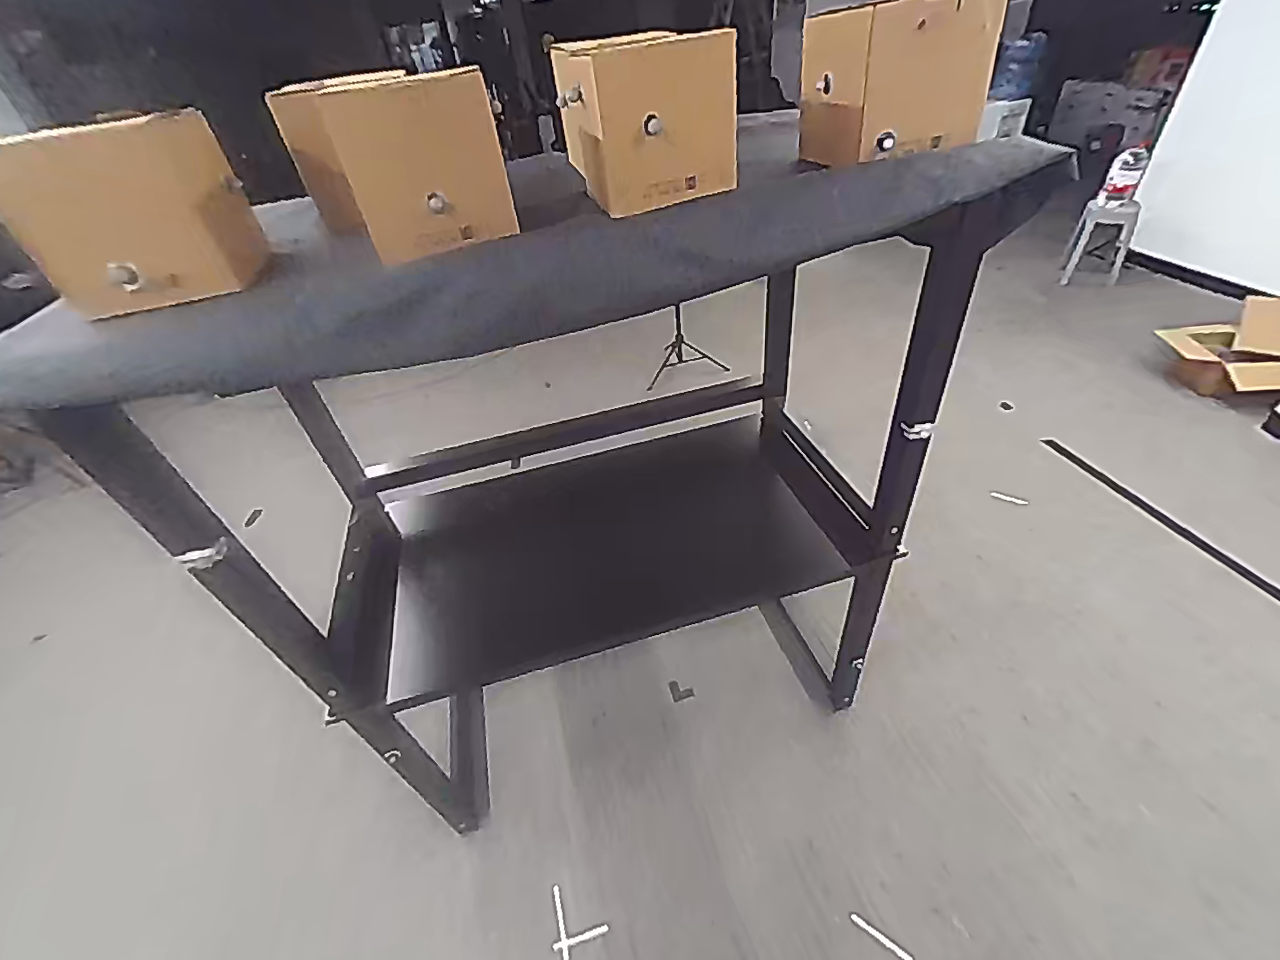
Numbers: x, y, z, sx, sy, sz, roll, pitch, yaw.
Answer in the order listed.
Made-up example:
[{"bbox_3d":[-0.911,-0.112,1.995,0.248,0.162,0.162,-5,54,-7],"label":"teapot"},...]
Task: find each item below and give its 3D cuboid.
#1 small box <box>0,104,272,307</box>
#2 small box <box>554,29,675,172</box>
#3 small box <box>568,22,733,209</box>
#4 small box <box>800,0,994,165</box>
[{"bbox_3d":[-0.559,-0.315,0.618,0.168,0.176,0.179,-17,39,-10],"label":"small box"},{"bbox_3d":[-0.036,-0.619,0.888,0.168,0.176,0.179,-15,40,-8],"label":"small box"},{"bbox_3d":[0.015,-0.461,0.695,0.168,0.176,0.179,-15,38,-7],"label":"small box"},{"bbox_3d":[0.324,-0.527,0.712,0.168,0.176,0.179,-13,37,-5],"label":"small box"}]
